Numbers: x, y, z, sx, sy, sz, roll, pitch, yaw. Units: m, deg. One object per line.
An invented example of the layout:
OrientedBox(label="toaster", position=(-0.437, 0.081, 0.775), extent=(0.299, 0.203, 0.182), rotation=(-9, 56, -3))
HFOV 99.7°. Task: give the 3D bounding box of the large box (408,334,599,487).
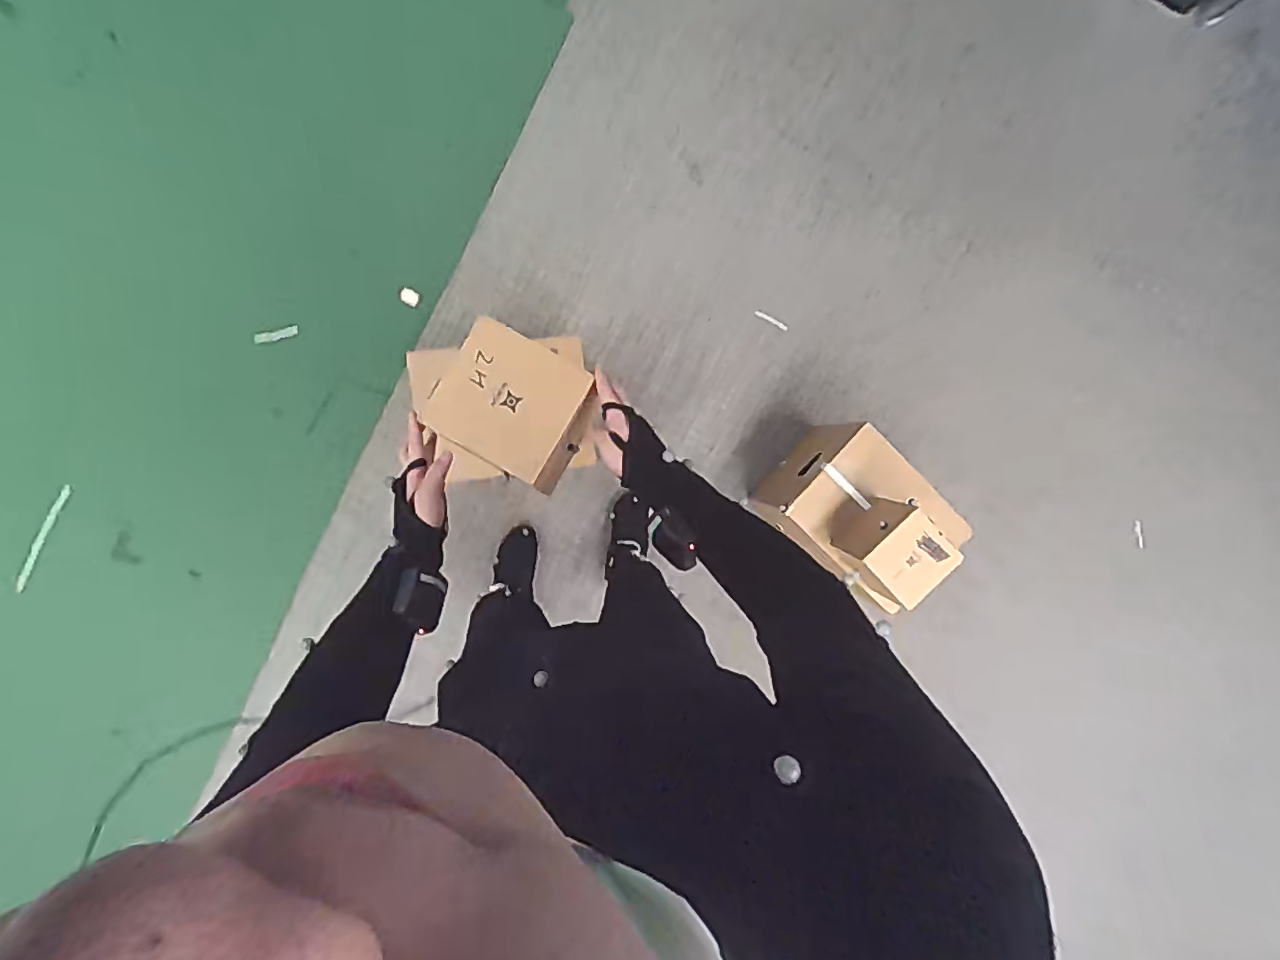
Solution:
OrientedBox(label="large box", position=(-0.329, -0.173, 1.412), extent=(0.408, 0.320, 0.320), rotation=(-8, 93, -4))

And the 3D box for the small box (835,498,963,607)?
OrientedBox(label="small box", position=(0.598, 0.159, 1.273), extent=(0.179, 0.176, 0.168), rotation=(-44, 96, 0))
